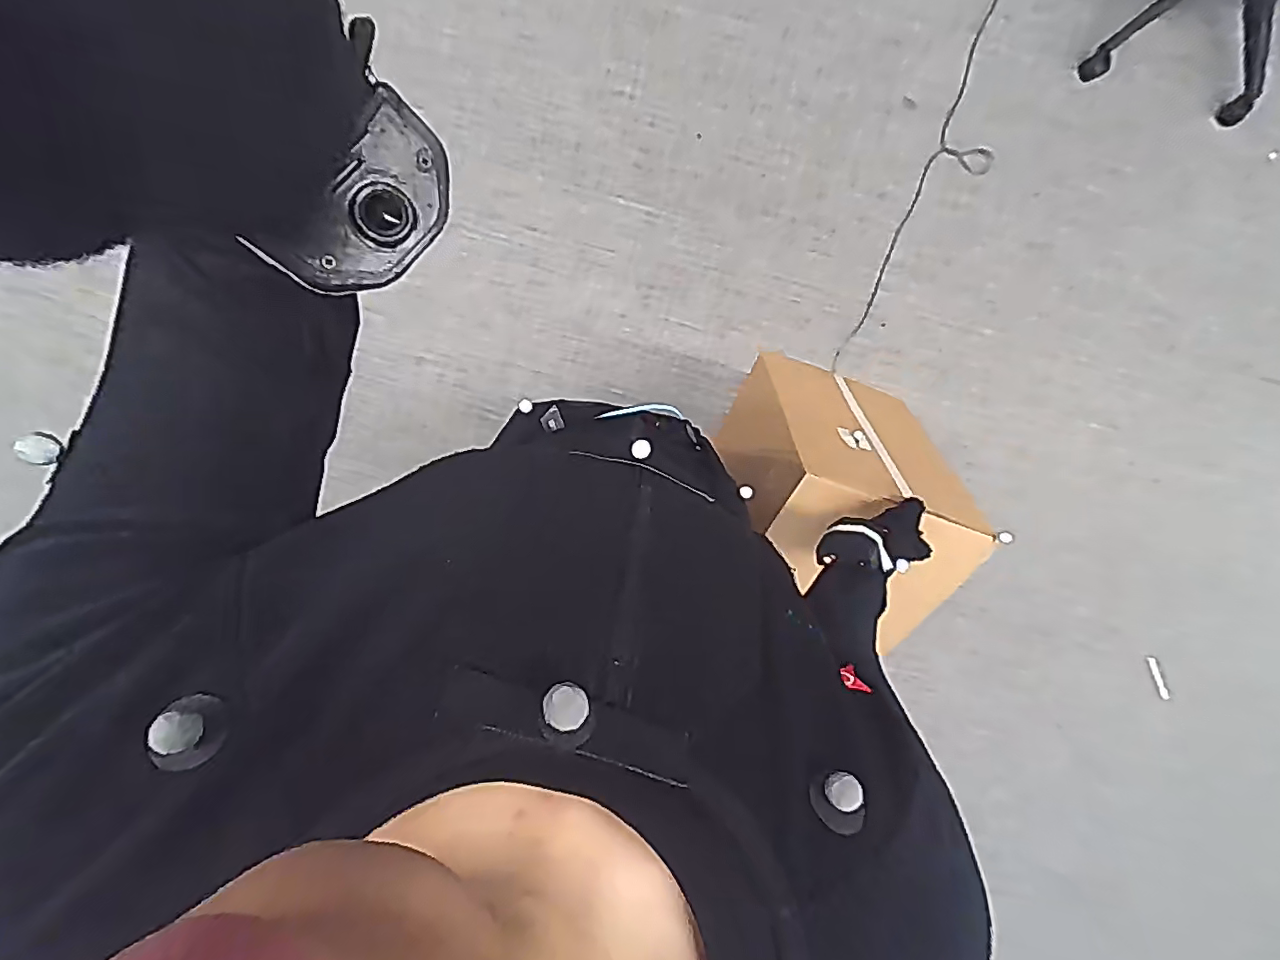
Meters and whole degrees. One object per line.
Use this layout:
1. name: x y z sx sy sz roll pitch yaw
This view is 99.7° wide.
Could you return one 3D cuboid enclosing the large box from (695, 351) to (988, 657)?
1. large box: 0.303 0.033 0.973 0.320 0.408 0.320 18 126 -9
